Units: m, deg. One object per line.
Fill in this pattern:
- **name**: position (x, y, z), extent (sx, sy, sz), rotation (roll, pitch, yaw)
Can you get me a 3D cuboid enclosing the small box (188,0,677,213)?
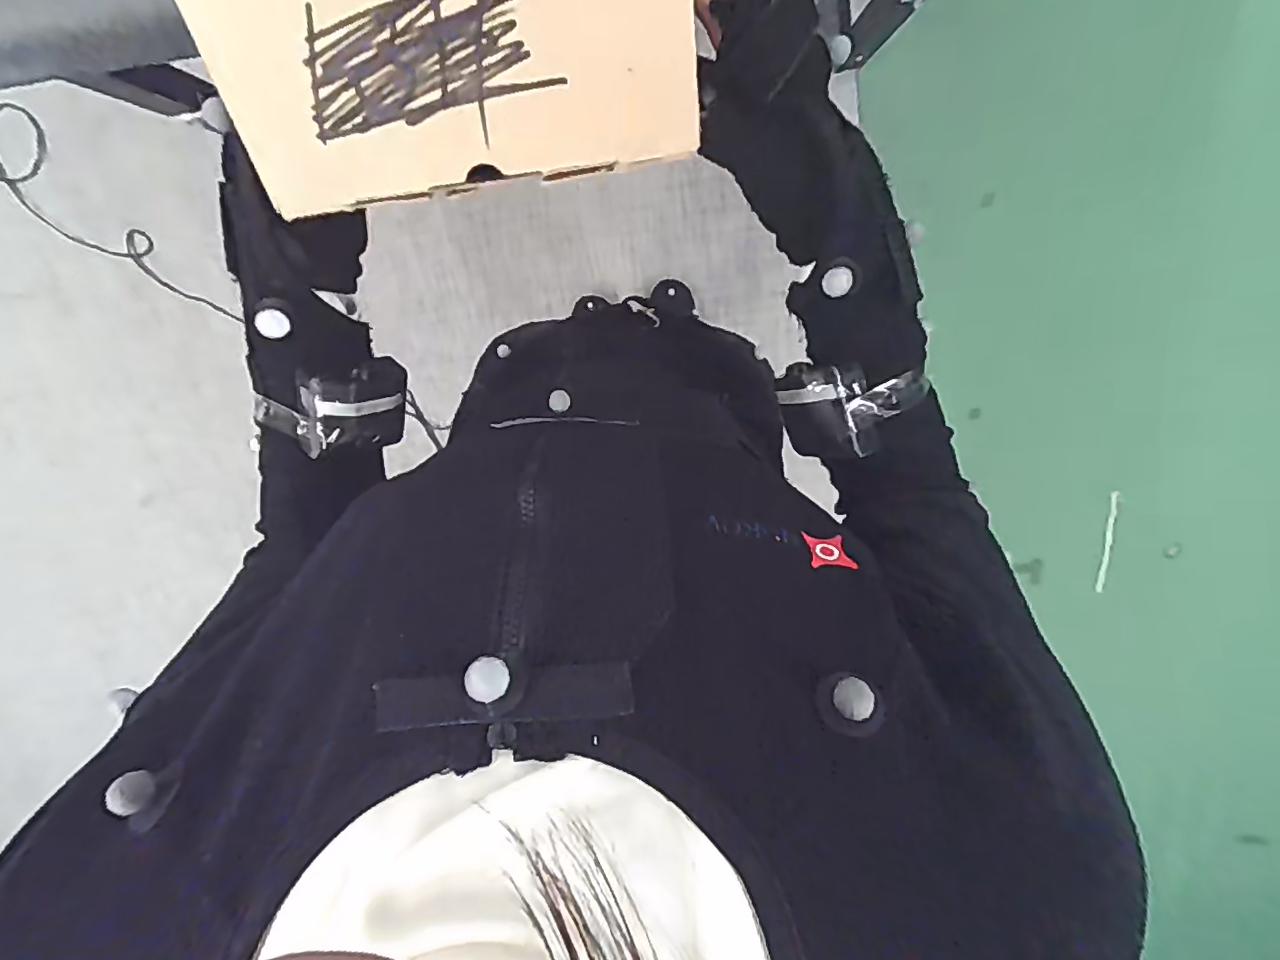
- **small box**: position (-0.074, -0.231, 0.230), extent (0.168, 0.176, 0.179), rotation (-6, 126, 1)
